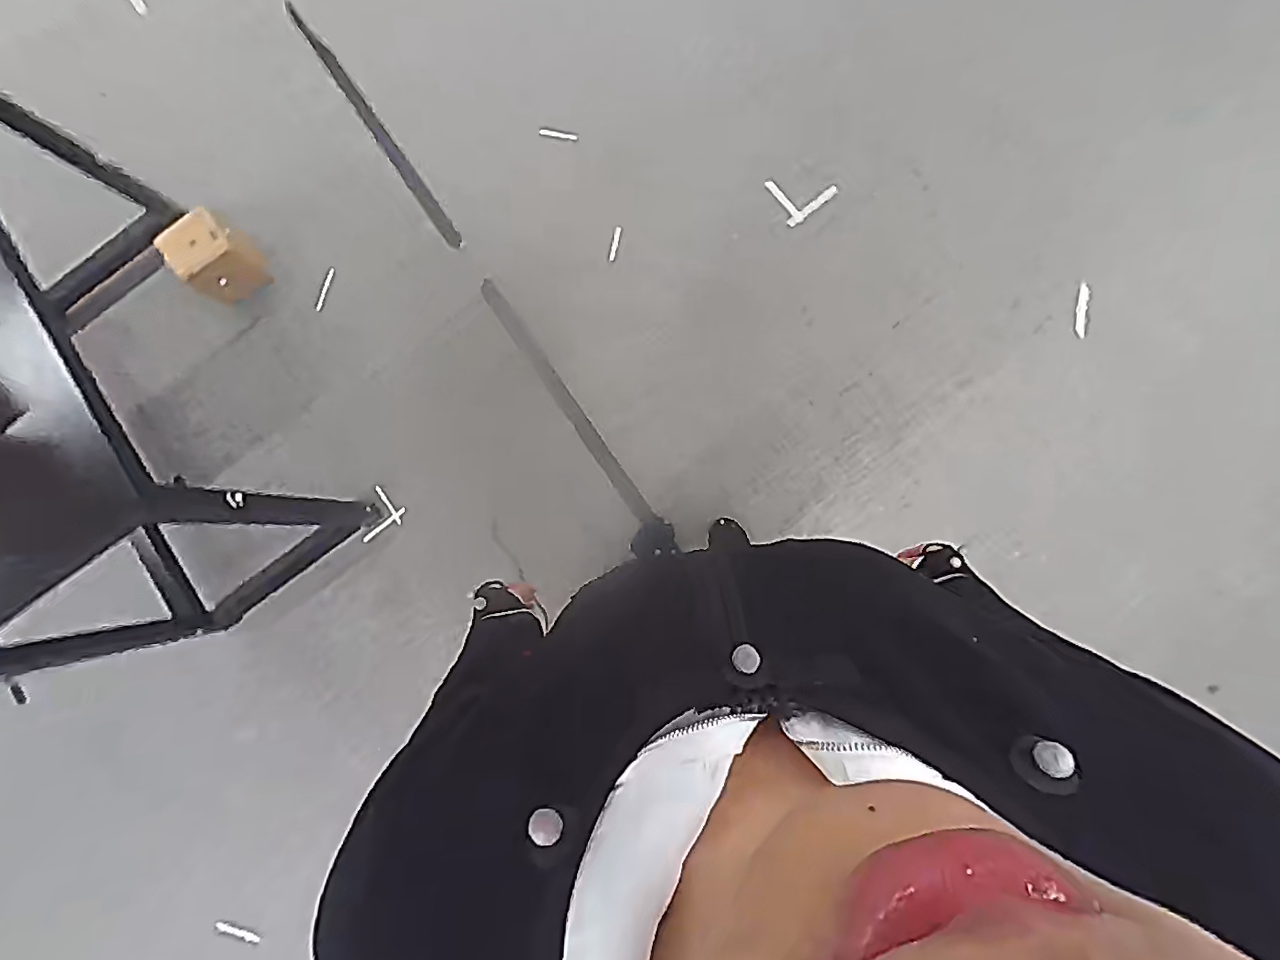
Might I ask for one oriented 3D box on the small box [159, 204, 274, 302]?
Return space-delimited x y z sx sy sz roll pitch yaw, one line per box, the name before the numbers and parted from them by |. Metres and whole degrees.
small box | -1.253 -0.667 1.611 0.179 0.176 0.168 -36 84 1
